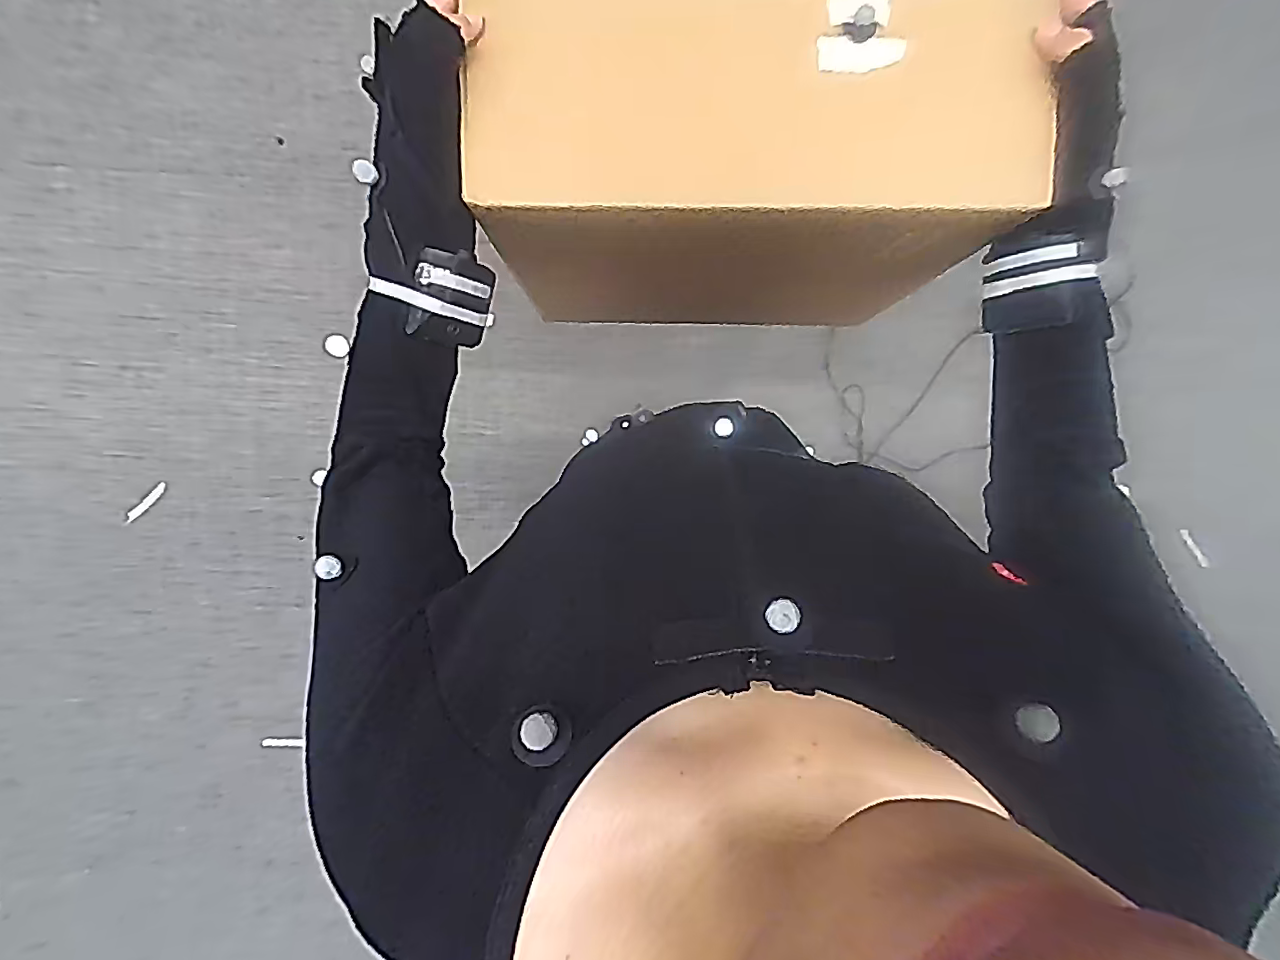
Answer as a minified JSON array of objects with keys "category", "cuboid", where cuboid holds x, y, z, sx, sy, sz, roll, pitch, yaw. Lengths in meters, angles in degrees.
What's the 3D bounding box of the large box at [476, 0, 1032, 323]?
[{"category":"large box","cuboid":[0.078,-0.352,0.534,0.408,0.320,0.320,0,91,-1]}]
